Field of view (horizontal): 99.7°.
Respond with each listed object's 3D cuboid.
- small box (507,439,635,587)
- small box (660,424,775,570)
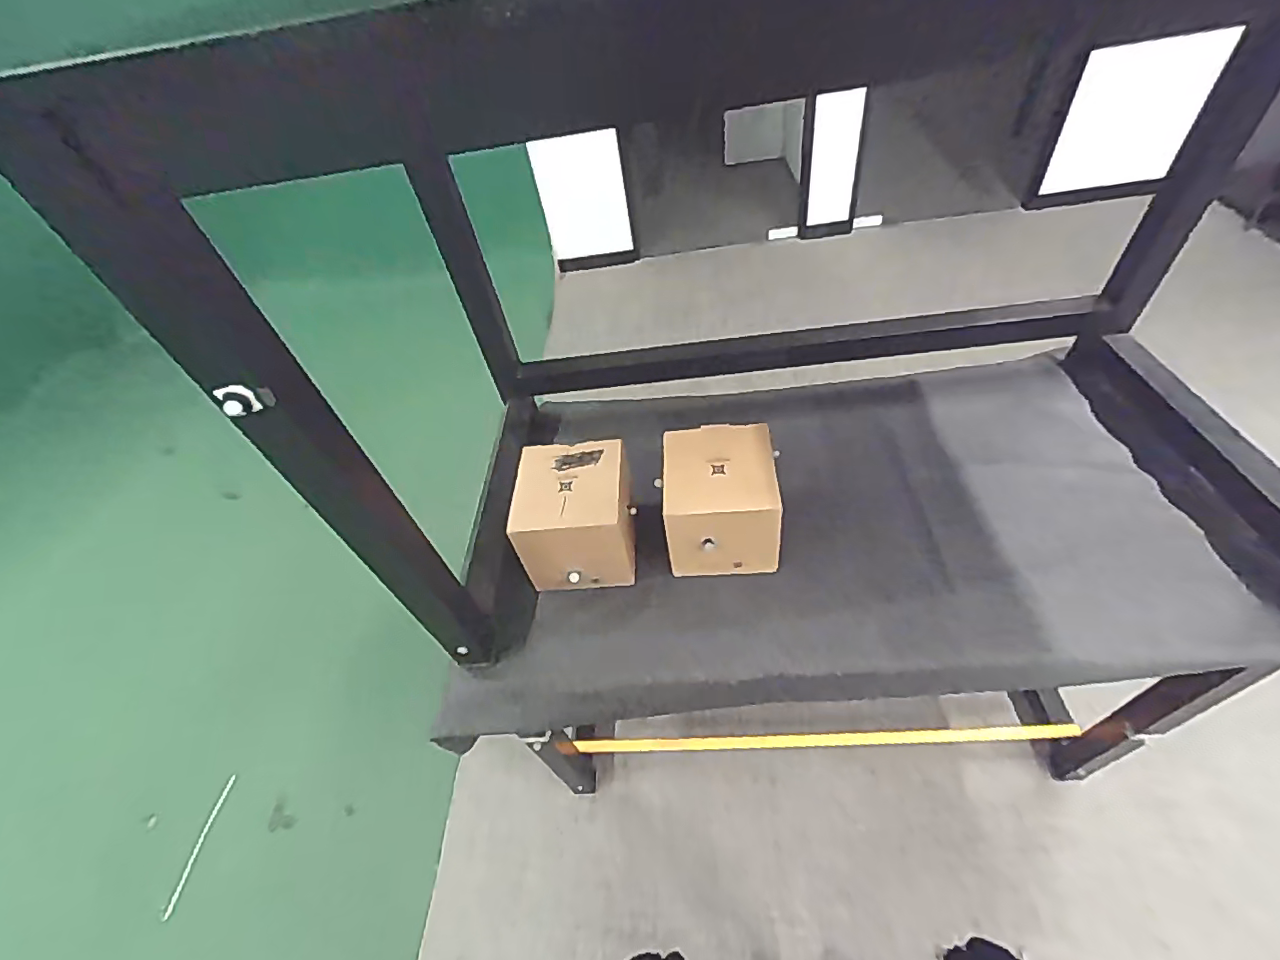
[{"bbox_3d":[-0.101,0.056,0.889,0.168,0.176,0.179,-5,48,6],"label":"small box"},{"bbox_3d":[0.124,0.034,0.871,0.168,0.176,0.179,-4,47,7],"label":"small box"}]
